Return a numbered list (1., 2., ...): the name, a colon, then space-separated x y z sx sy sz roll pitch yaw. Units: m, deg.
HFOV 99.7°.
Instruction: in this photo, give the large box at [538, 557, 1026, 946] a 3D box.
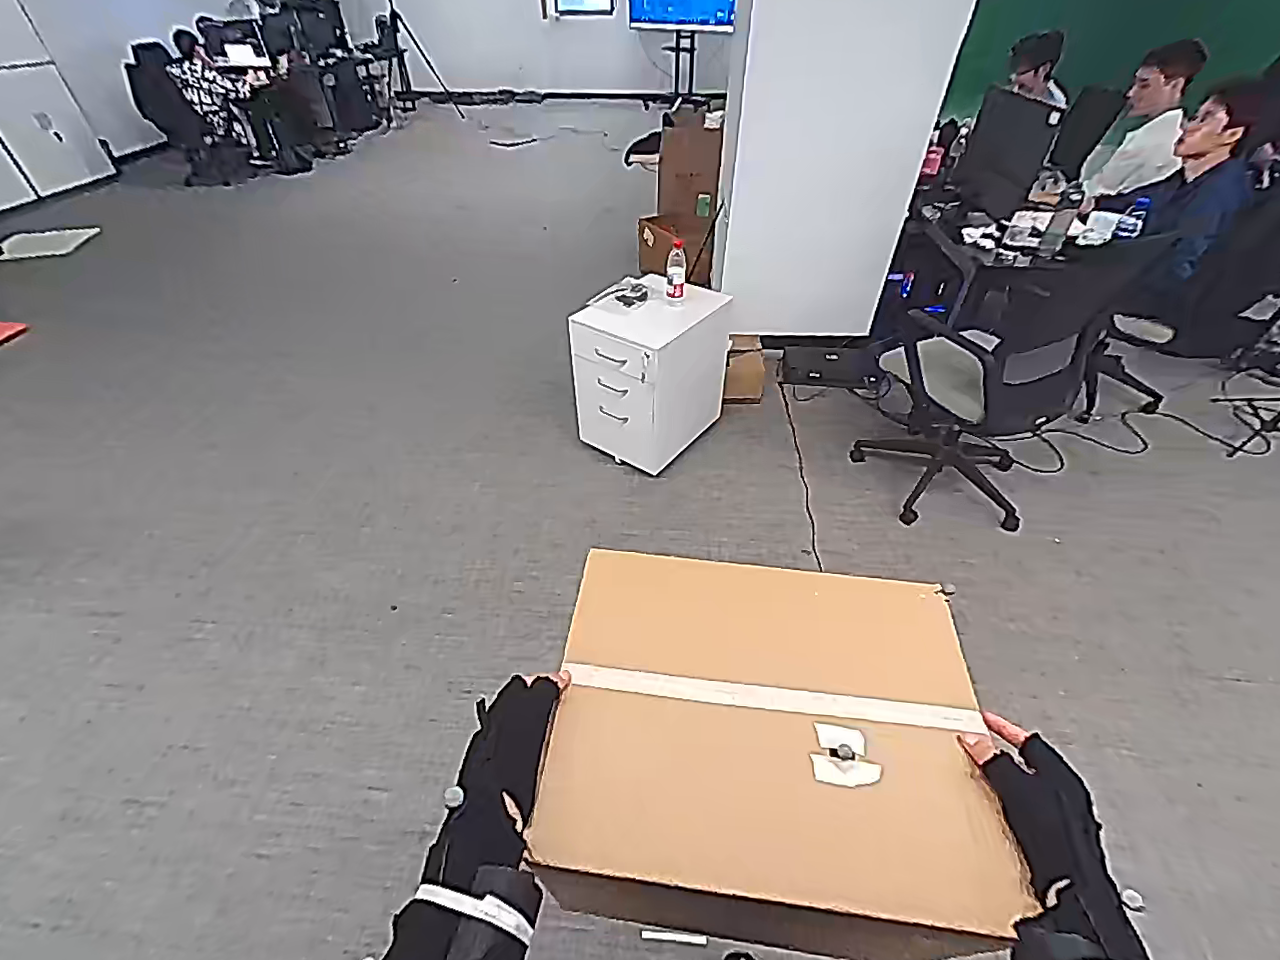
1. large box: 0.124 0.321 0.647 0.408 0.320 0.320 5 47 5
